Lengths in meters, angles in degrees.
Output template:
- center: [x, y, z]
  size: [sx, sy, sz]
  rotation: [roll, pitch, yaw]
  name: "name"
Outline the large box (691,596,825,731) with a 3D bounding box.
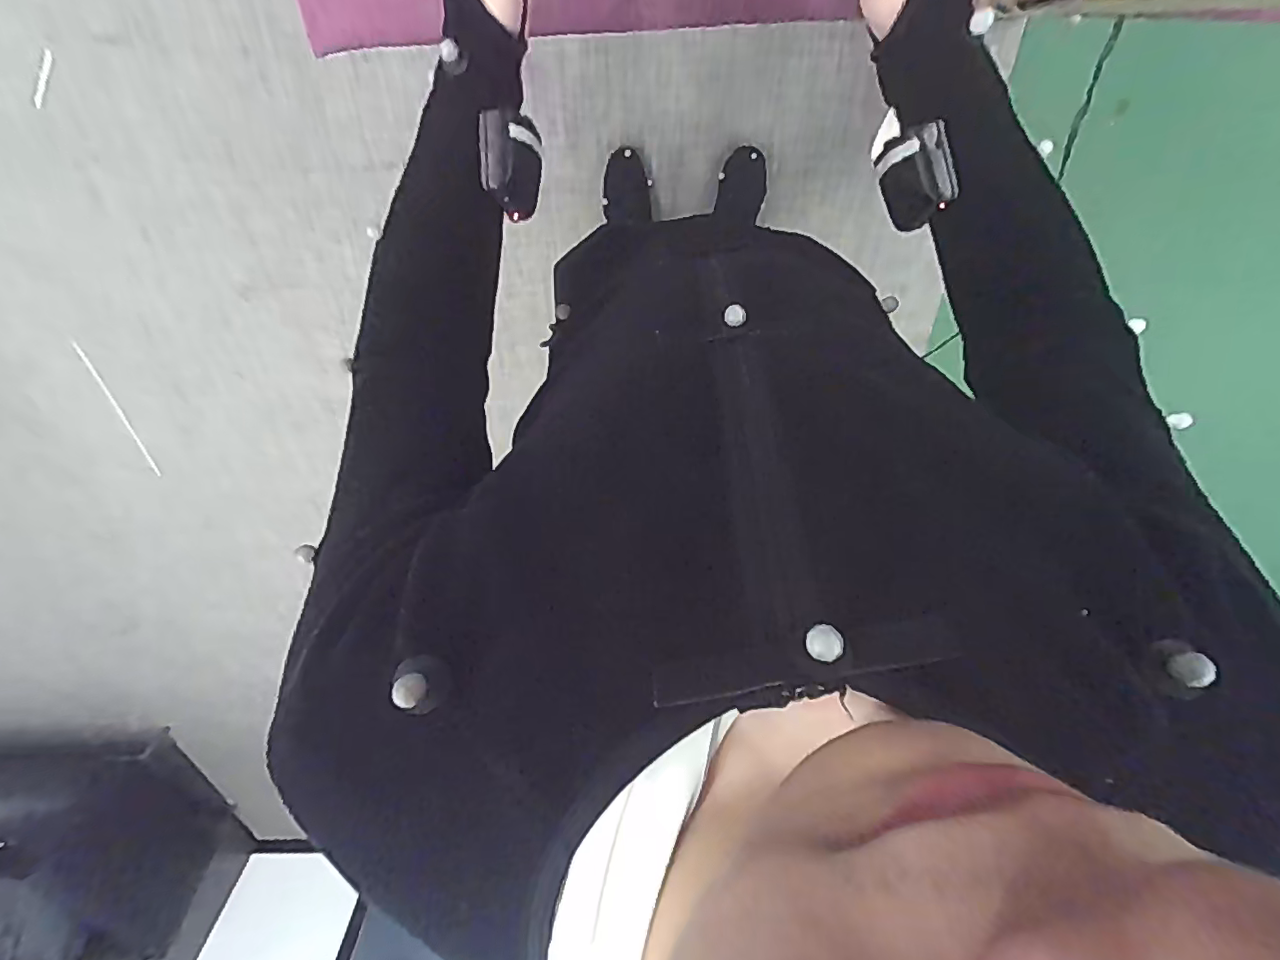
- center: [0.460, 0.740, 2.180]
  size: [0.408, 0.320, 0.320]
  rotation: [-28, 120, 17]
  name: "large box"
